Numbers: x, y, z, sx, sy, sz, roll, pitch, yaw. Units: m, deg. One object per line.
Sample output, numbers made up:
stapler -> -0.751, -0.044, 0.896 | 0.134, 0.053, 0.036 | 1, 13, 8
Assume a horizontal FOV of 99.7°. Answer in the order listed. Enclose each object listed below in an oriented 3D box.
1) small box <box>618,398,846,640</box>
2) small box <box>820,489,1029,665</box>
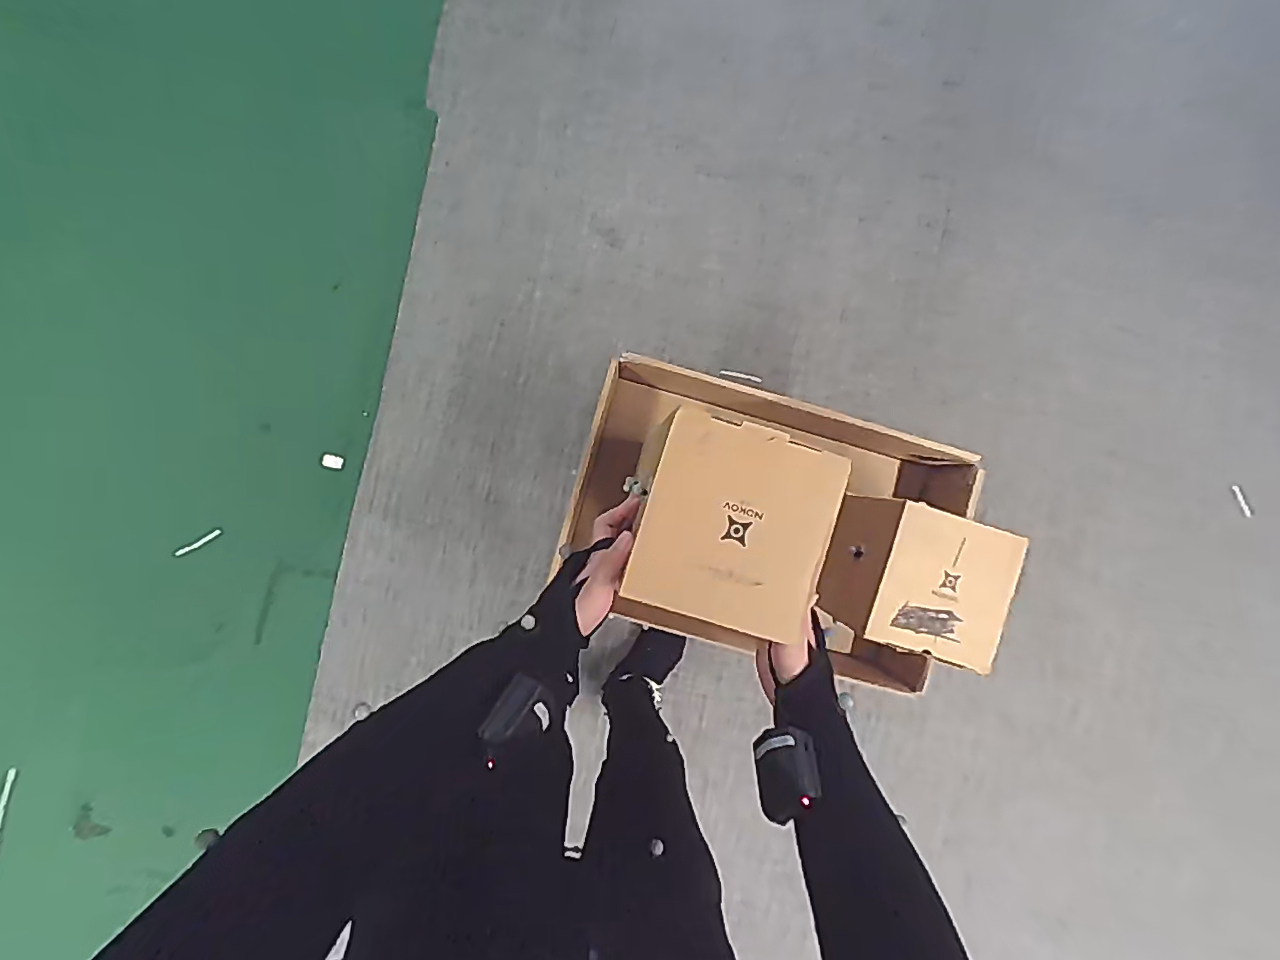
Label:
small box -> 0.077, 0.035, 0.549 | 0.168, 0.176, 0.179 | 17, 89, -2
small box -> 0.363, 0.118, 0.726 | 0.168, 0.176, 0.179 | 16, 90, -3
